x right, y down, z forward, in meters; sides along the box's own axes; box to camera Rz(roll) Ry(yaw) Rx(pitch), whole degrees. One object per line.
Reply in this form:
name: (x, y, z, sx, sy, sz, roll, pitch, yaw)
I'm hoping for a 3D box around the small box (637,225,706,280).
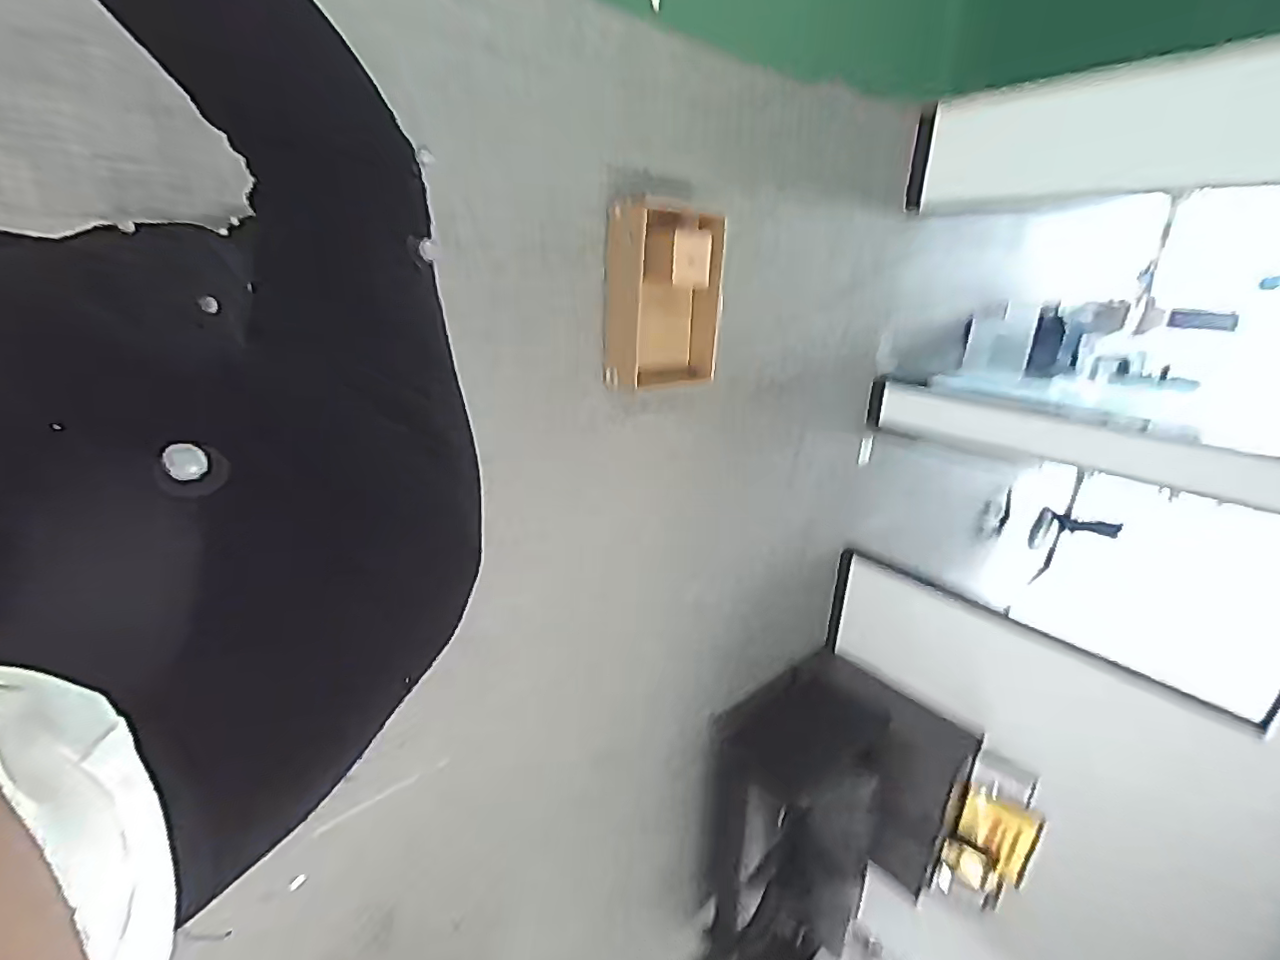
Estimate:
small box: (0.104, -0.791, 1.884, 0.179, 0.176, 0.168, -16, 119, -38)
